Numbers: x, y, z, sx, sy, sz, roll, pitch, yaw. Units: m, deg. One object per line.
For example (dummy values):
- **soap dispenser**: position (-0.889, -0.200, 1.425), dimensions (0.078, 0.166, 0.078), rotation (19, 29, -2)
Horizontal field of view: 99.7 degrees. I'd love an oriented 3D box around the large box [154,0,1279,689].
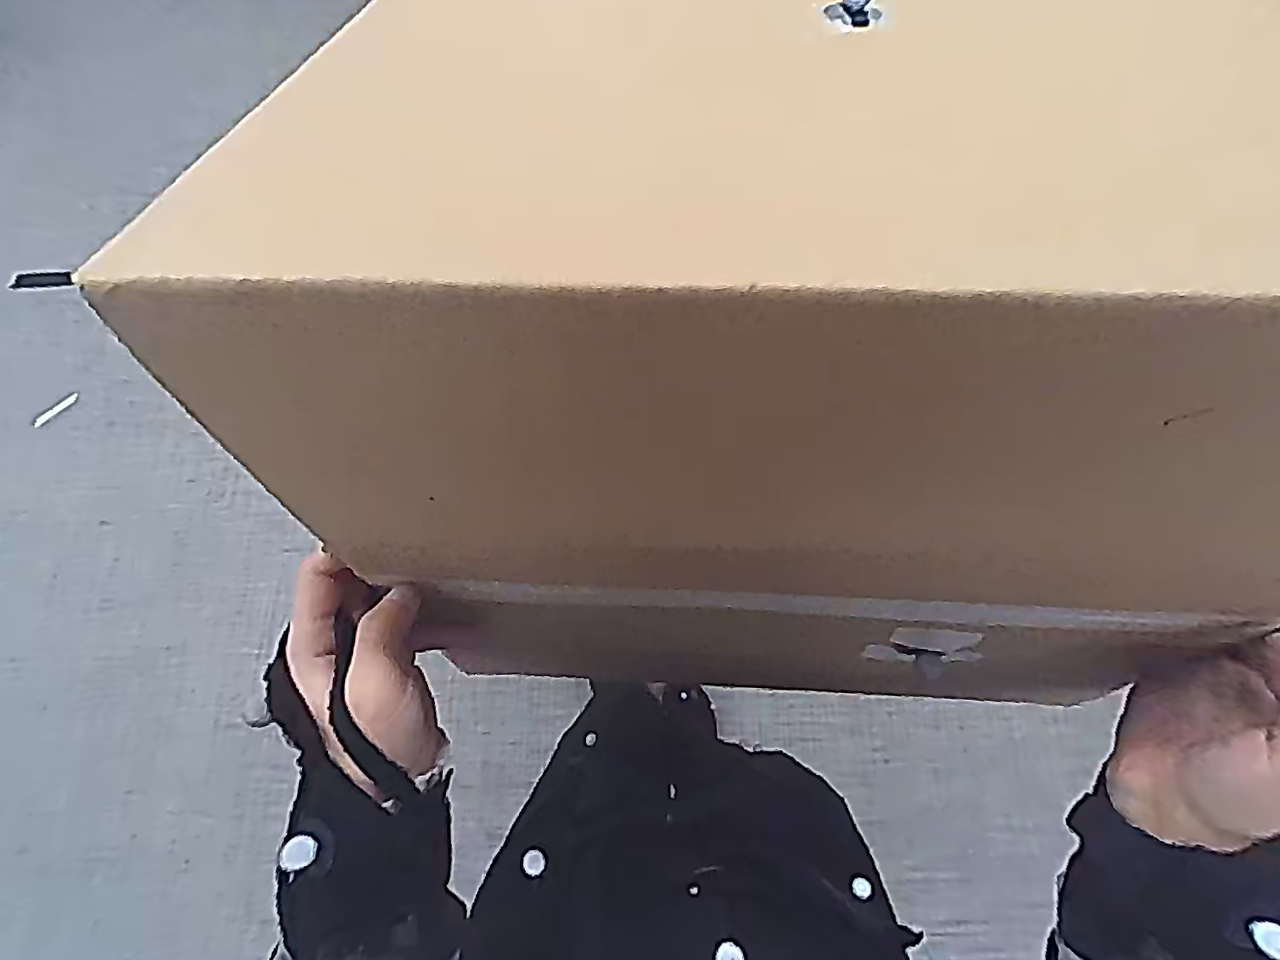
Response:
- **large box**: position (0.077, -0.074, 0.336), dimensions (0.408, 0.320, 0.320), rotation (1, 56, 3)
